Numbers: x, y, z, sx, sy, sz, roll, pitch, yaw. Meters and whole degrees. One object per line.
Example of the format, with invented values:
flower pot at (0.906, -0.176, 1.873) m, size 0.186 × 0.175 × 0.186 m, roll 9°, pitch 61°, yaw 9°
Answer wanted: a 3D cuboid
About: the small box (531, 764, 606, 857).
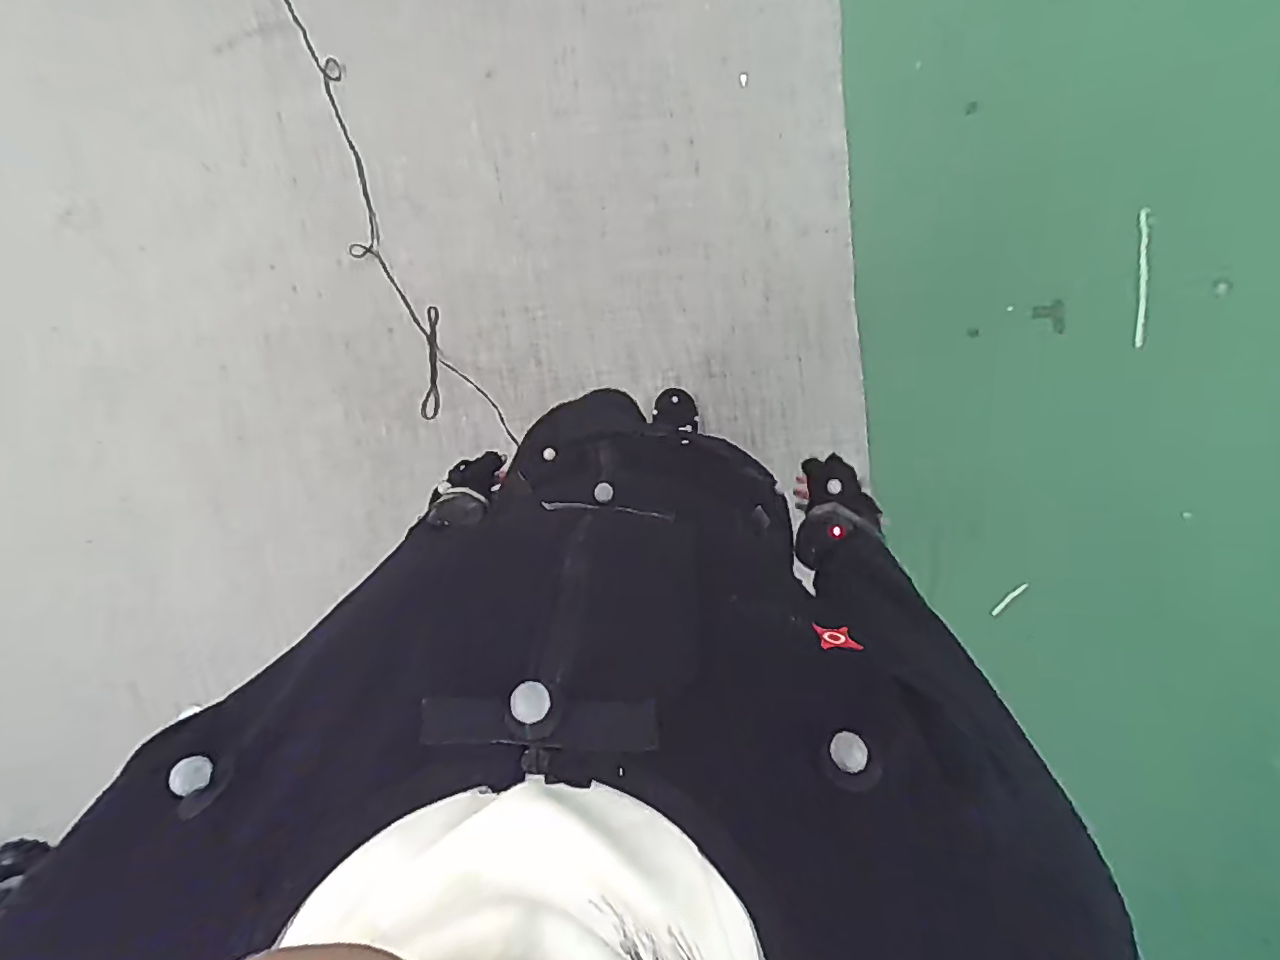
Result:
small box at (-0.200, 0.942, 1.549) m, size 0.179 × 0.176 × 0.168 m, roll -3°, pitch 101°, yaw 4°
